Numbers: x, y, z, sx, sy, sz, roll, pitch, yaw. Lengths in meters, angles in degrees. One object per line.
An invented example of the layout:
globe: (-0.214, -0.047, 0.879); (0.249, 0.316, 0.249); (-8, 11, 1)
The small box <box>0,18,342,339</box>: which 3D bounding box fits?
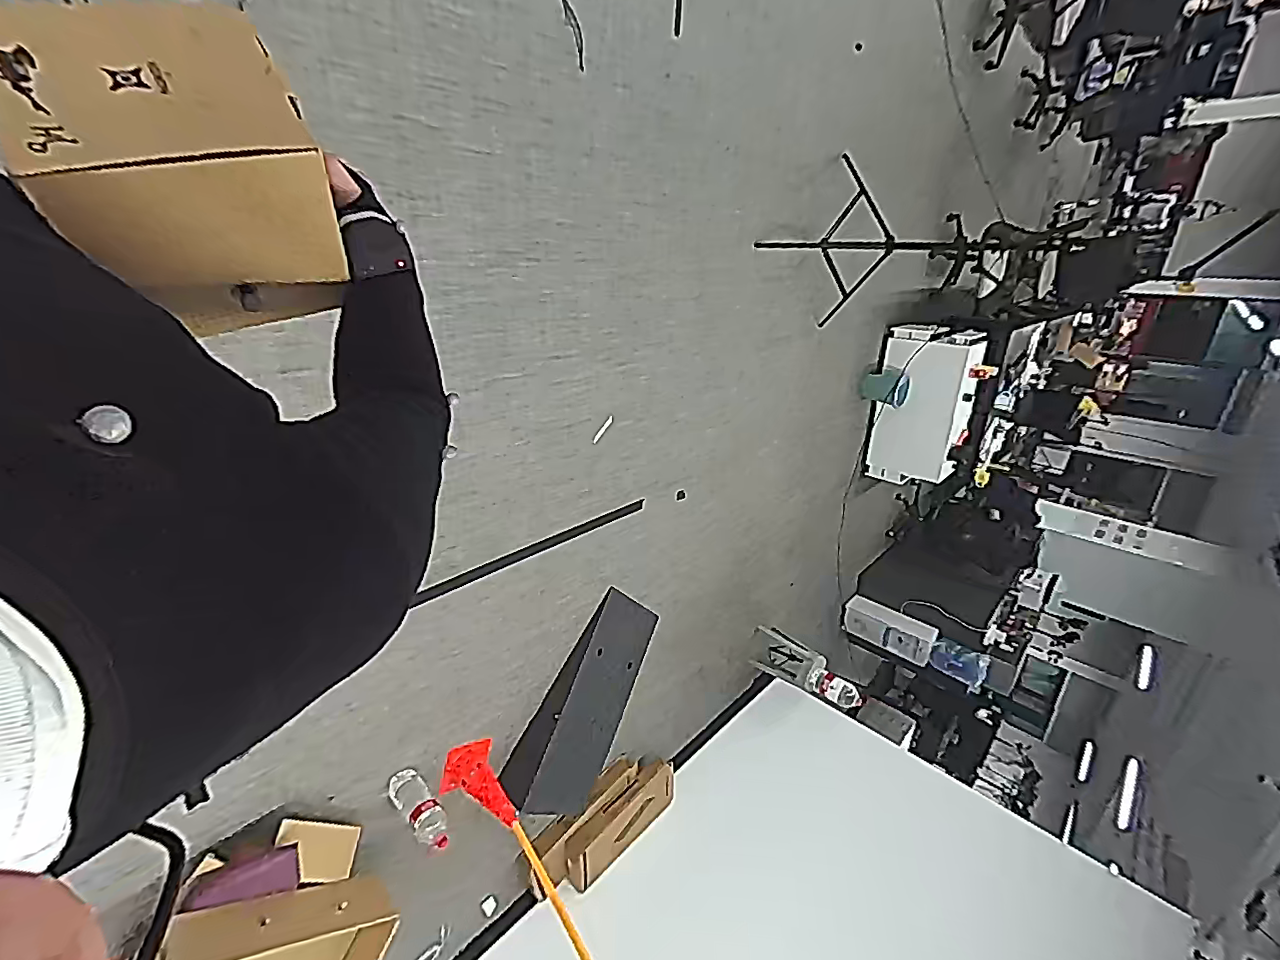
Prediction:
small box: (-0.382, -0.252, 0.470); (0.179, 0.168, 0.176); (-25, 164, -27)
